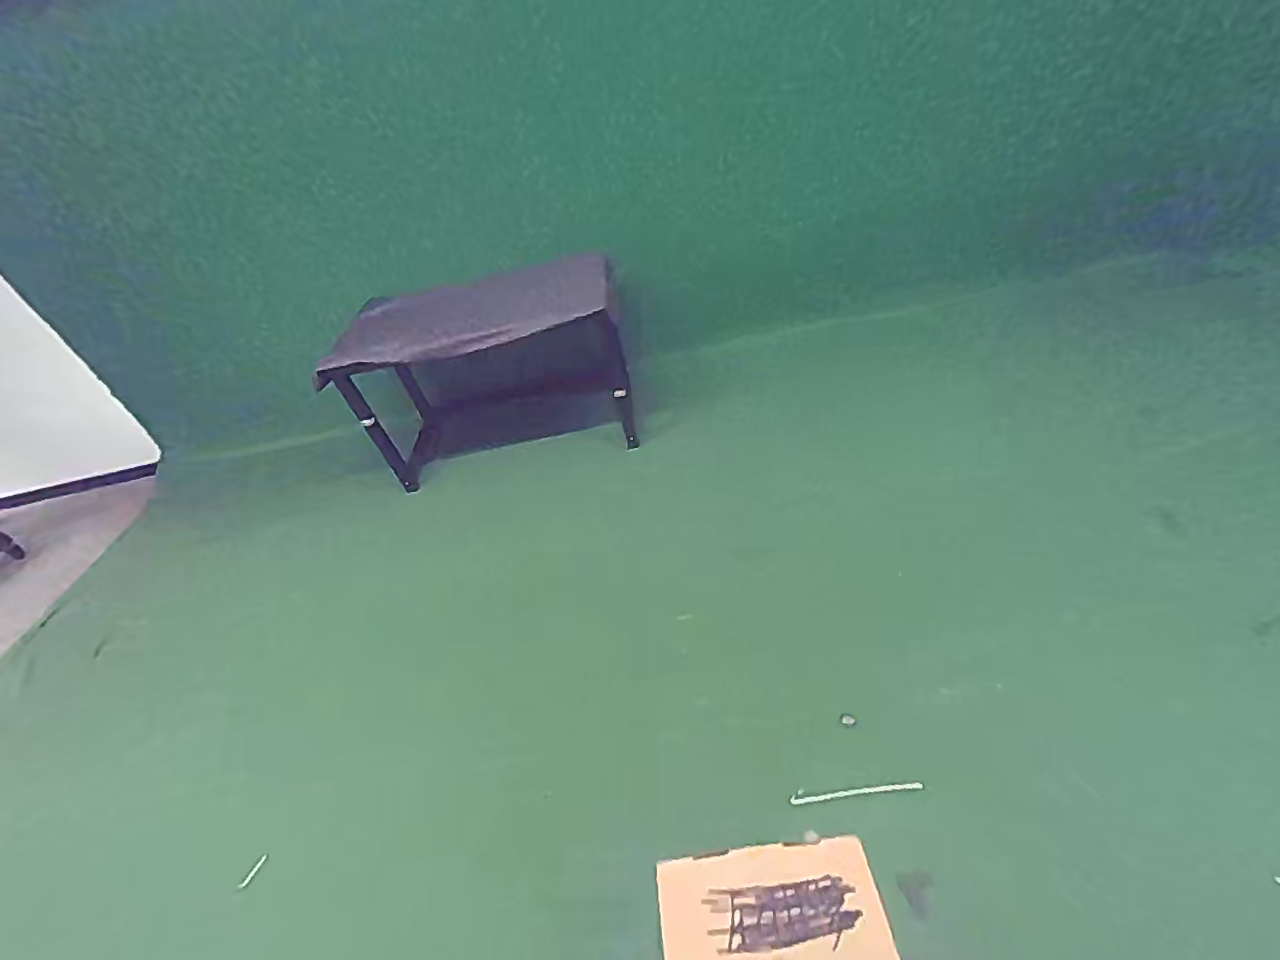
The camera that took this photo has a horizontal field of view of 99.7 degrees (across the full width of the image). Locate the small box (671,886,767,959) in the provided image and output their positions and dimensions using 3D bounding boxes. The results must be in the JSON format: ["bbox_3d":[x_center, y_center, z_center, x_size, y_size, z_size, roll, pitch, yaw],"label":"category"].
[{"bbox_3d":[0.166,0.953,1.087,0.168,0.176,0.179,-12,38,5],"label":"small box"}]
